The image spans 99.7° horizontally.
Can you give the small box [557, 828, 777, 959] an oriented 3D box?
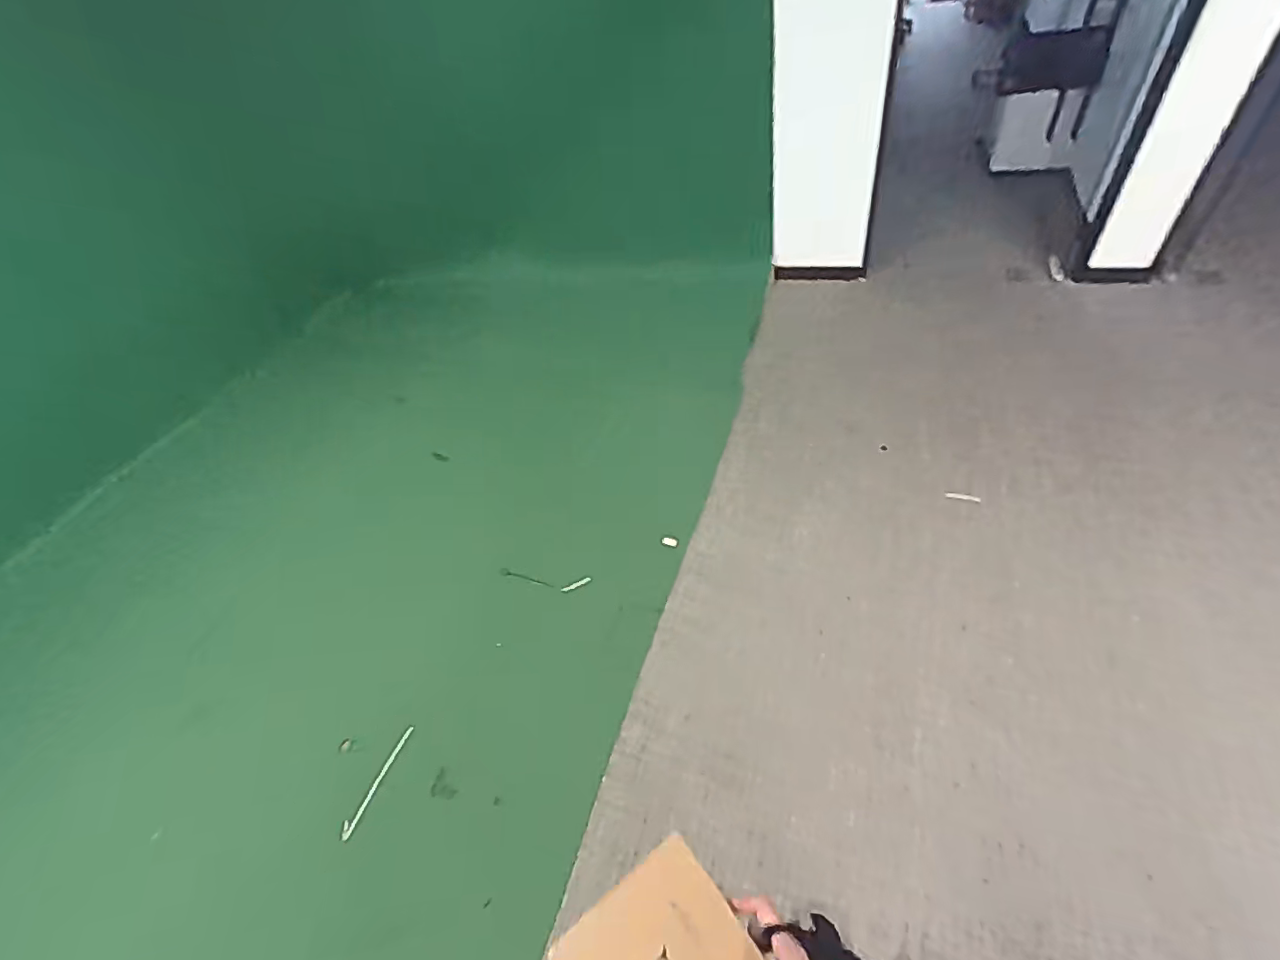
[{"bbox_3d":[0.045,0.524,0.575,0.179,0.176,0.168,-34,46,-17],"label":"small box"}]
